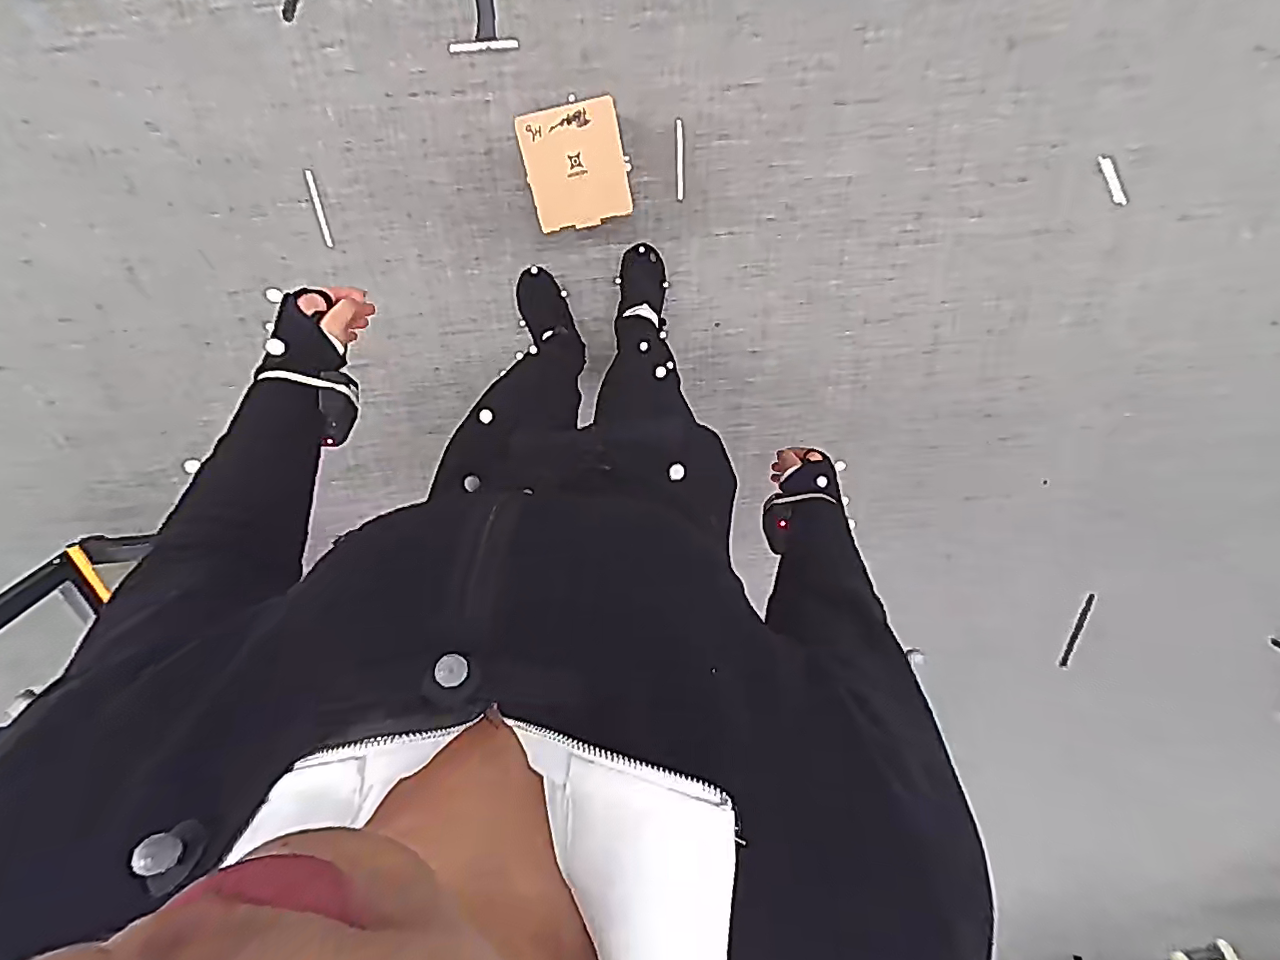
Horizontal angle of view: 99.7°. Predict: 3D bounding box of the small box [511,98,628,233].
[{"bbox_3d":[-0.117,-0.561,0.970,0.168,0.176,0.179,-11,120,2],"label":"small box"}]
